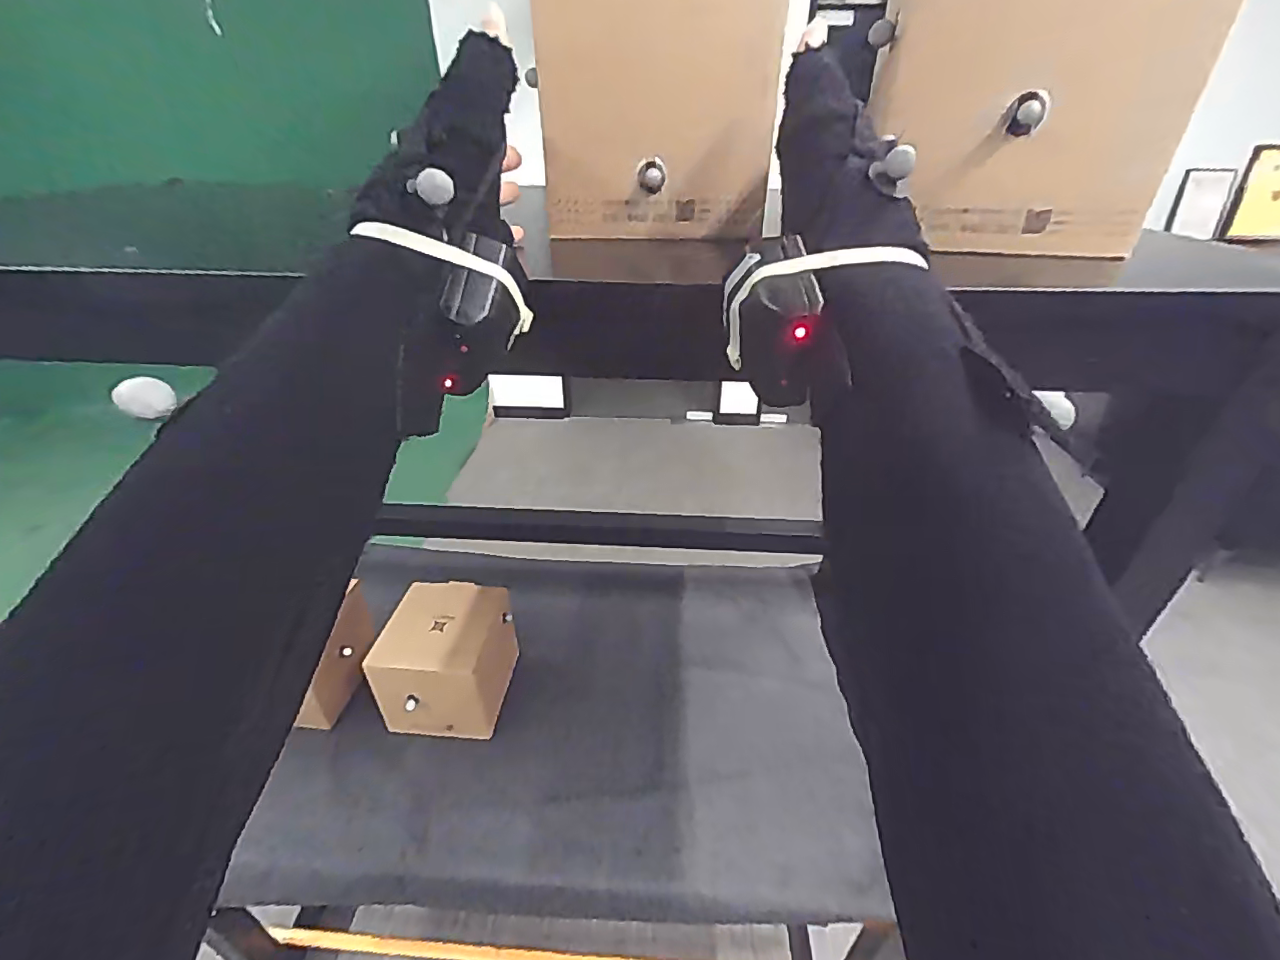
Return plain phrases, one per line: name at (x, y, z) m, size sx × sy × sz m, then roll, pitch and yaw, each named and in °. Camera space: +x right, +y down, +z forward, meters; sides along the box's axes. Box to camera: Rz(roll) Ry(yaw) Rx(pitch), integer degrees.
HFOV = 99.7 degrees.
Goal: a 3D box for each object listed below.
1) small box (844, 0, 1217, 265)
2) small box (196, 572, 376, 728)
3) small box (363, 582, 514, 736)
small box at (0.254, -0.262, 0.397) m, size 0.168 × 0.176 × 0.179 m, roll 9°, pitch 33°, yaw 12°
small box at (-0.564, 0.277, 0.895) m, size 0.168 × 0.176 × 0.179 m, roll 3°, pitch 33°, yaw 4°
small box at (-0.312, 0.291, 0.884) m, size 0.168 × 0.176 × 0.179 m, roll 3°, pitch 32°, yaw 3°
